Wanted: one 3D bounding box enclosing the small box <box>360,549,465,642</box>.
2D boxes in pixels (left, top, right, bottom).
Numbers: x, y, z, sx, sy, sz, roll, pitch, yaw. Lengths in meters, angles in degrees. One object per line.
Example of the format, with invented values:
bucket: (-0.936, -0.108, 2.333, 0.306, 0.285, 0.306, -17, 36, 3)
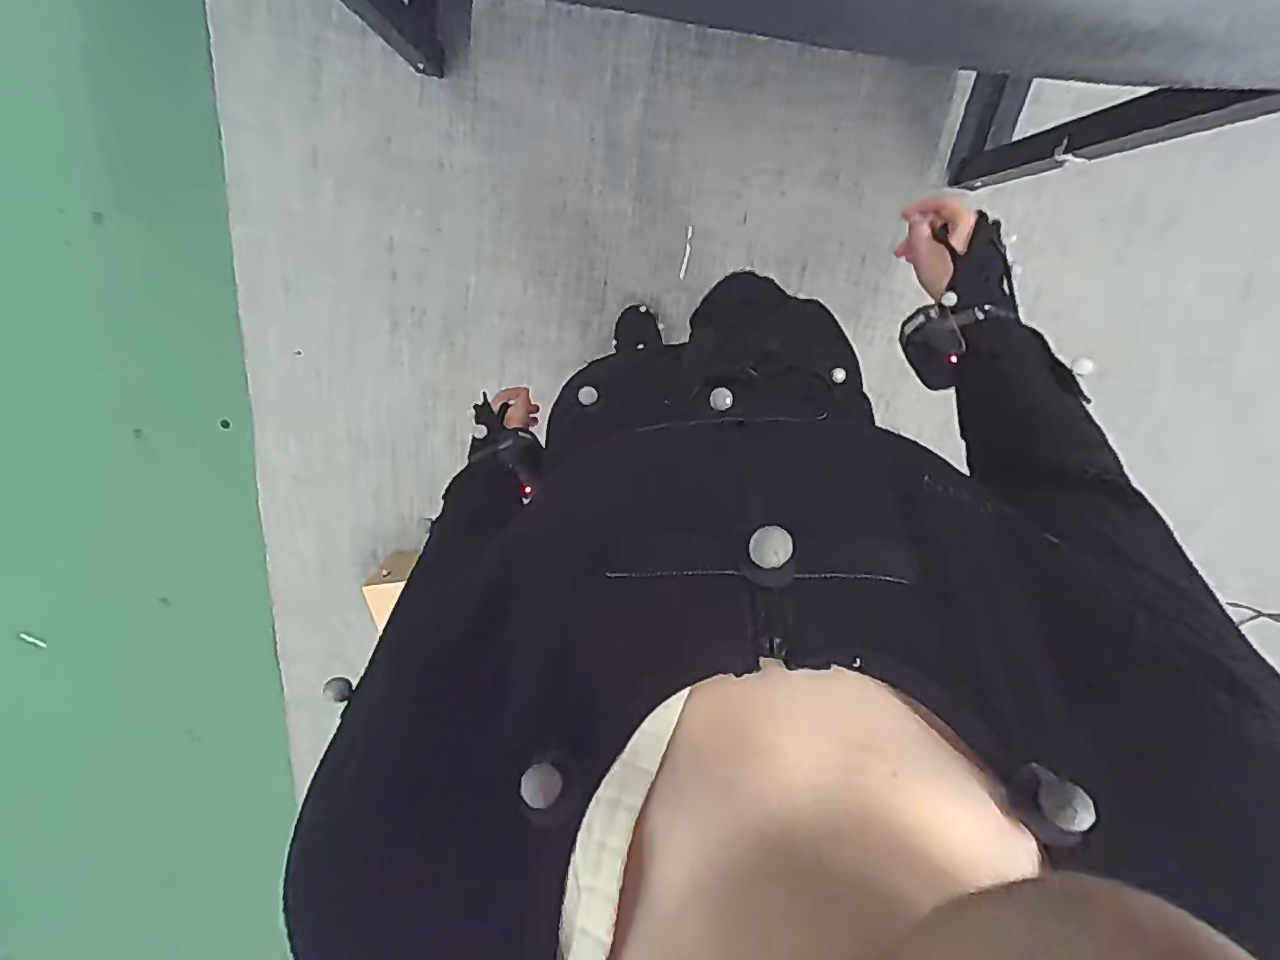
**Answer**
small box: (-0.582, 0.296, 1.406, 0.179, 0.176, 0.168, -8, 111, 3)
